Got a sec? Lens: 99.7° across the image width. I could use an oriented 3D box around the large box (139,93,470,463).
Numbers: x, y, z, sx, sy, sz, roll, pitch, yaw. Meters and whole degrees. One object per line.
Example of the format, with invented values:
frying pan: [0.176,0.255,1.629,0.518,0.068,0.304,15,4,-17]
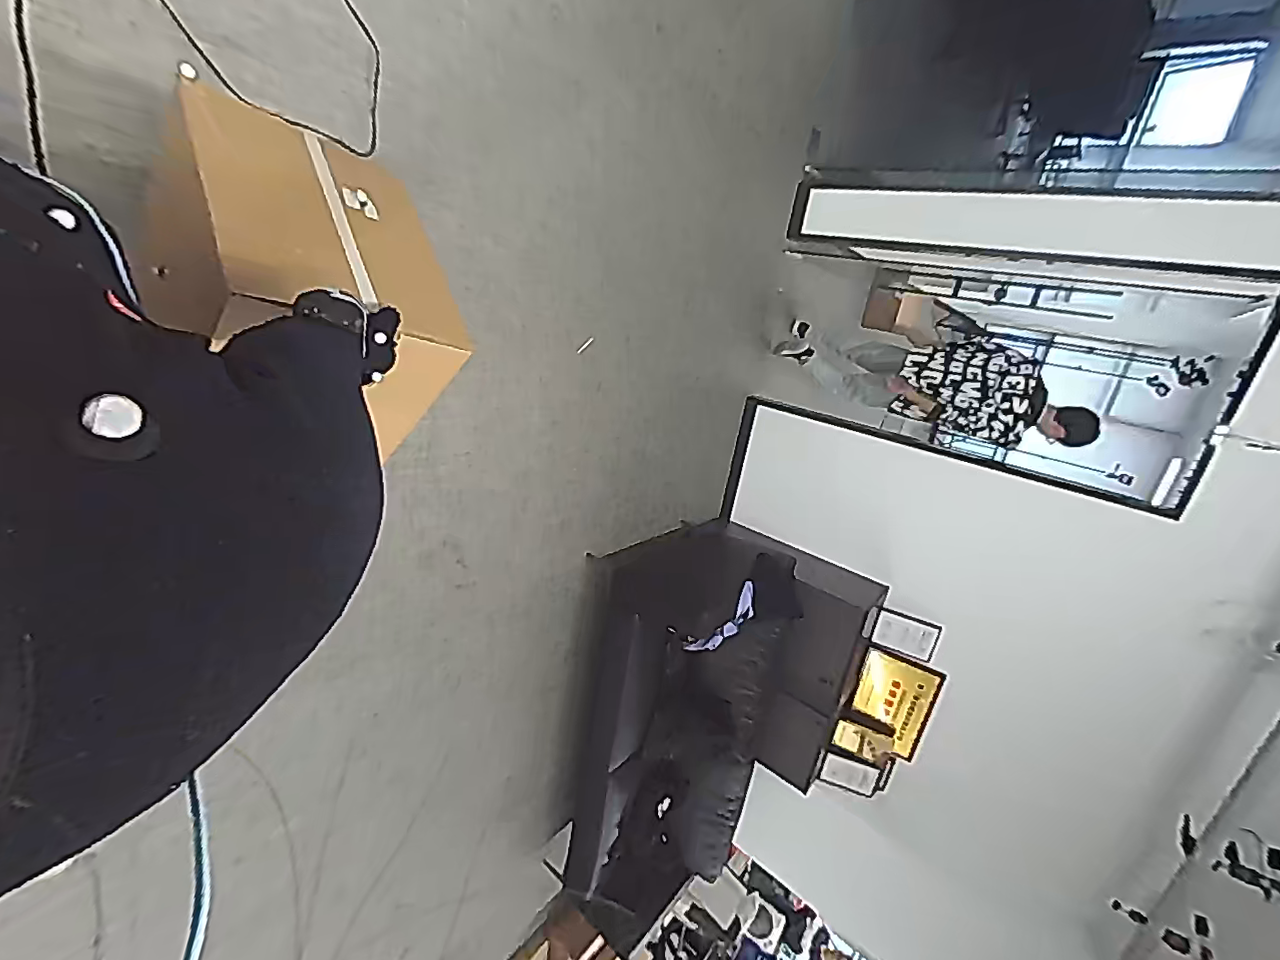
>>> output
large box: [-0.537,-0.273,0.855,0.320,0.408,0.320,-39,157,29]
